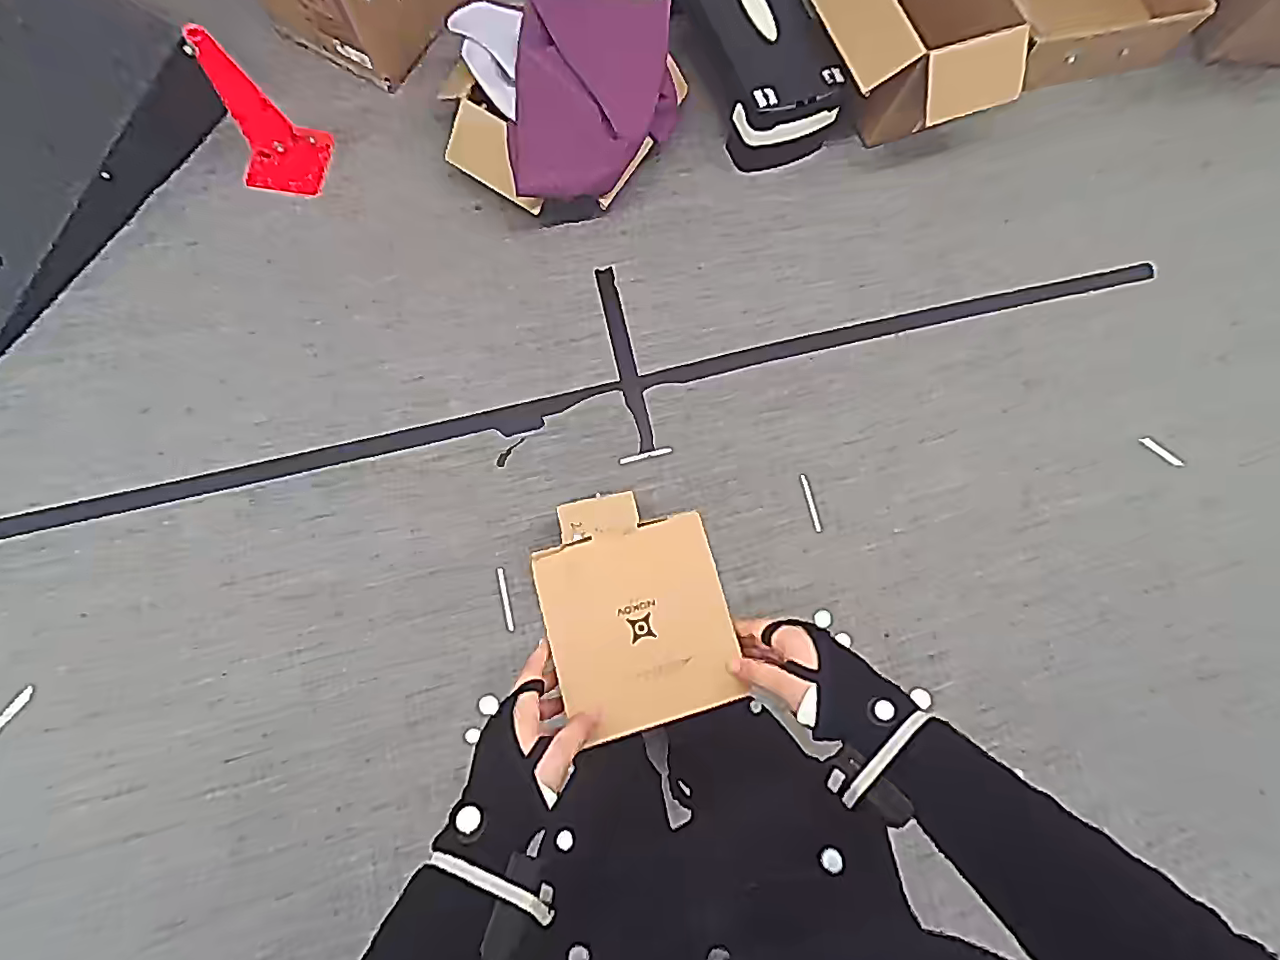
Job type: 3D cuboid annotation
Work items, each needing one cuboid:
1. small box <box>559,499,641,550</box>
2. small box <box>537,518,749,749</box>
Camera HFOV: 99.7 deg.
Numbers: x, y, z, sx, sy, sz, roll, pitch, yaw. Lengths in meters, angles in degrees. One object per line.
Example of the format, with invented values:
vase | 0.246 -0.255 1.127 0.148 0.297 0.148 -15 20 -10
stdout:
small box | -0.086 0.148 1.263 0.179 0.176 0.168 -12 80 -6
small box | -0.006 0.154 0.578 0.168 0.176 0.179 -15 80 -7
